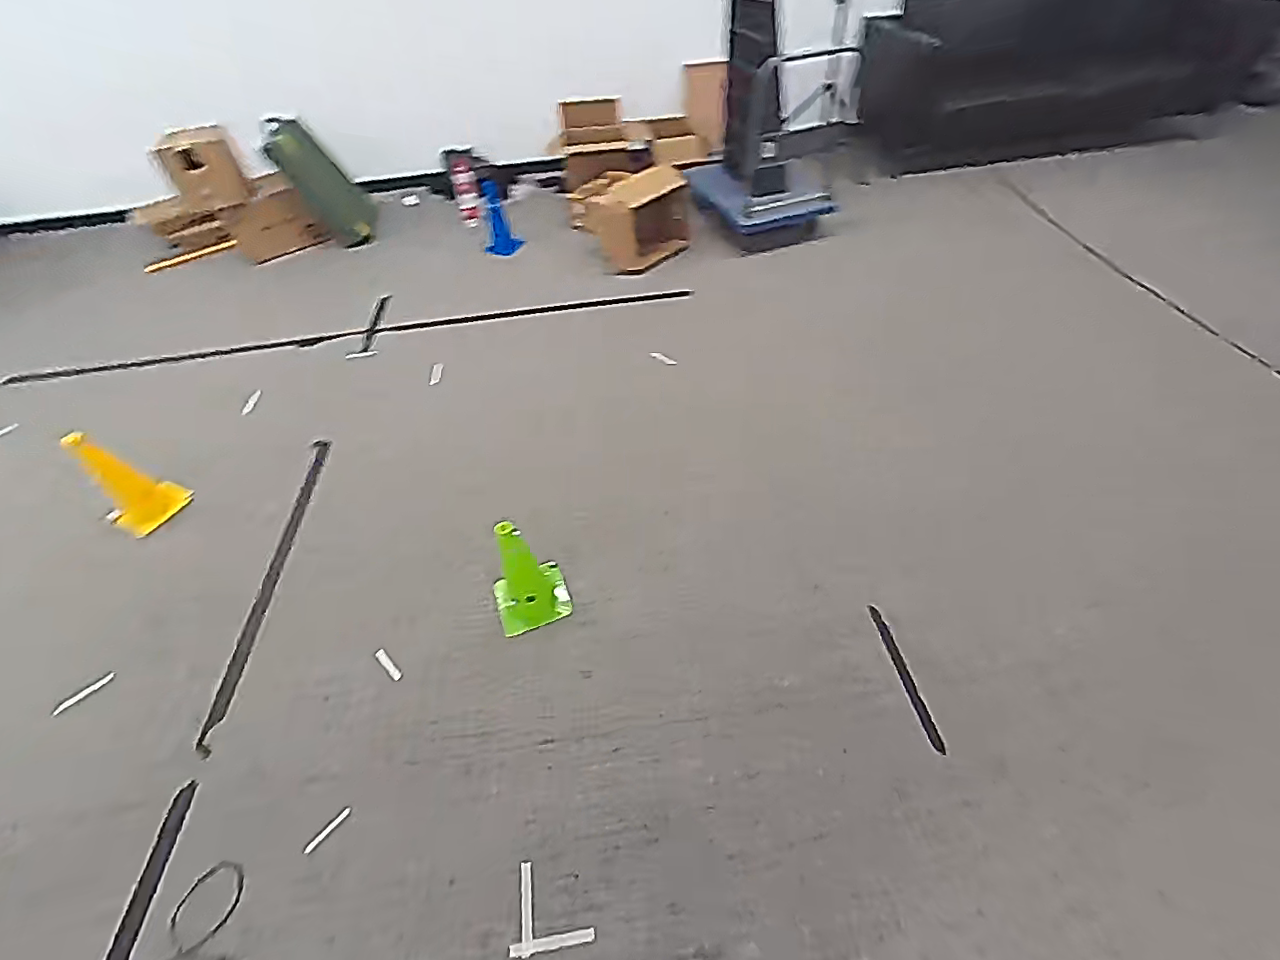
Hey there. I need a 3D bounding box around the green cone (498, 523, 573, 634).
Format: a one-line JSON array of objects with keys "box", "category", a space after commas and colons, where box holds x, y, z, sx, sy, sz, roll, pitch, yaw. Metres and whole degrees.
[{"box": [-0.329, 0.238, 1.498, 0.200, 0.368, 0.202, -19, 50, -11], "category": "green cone"}]
